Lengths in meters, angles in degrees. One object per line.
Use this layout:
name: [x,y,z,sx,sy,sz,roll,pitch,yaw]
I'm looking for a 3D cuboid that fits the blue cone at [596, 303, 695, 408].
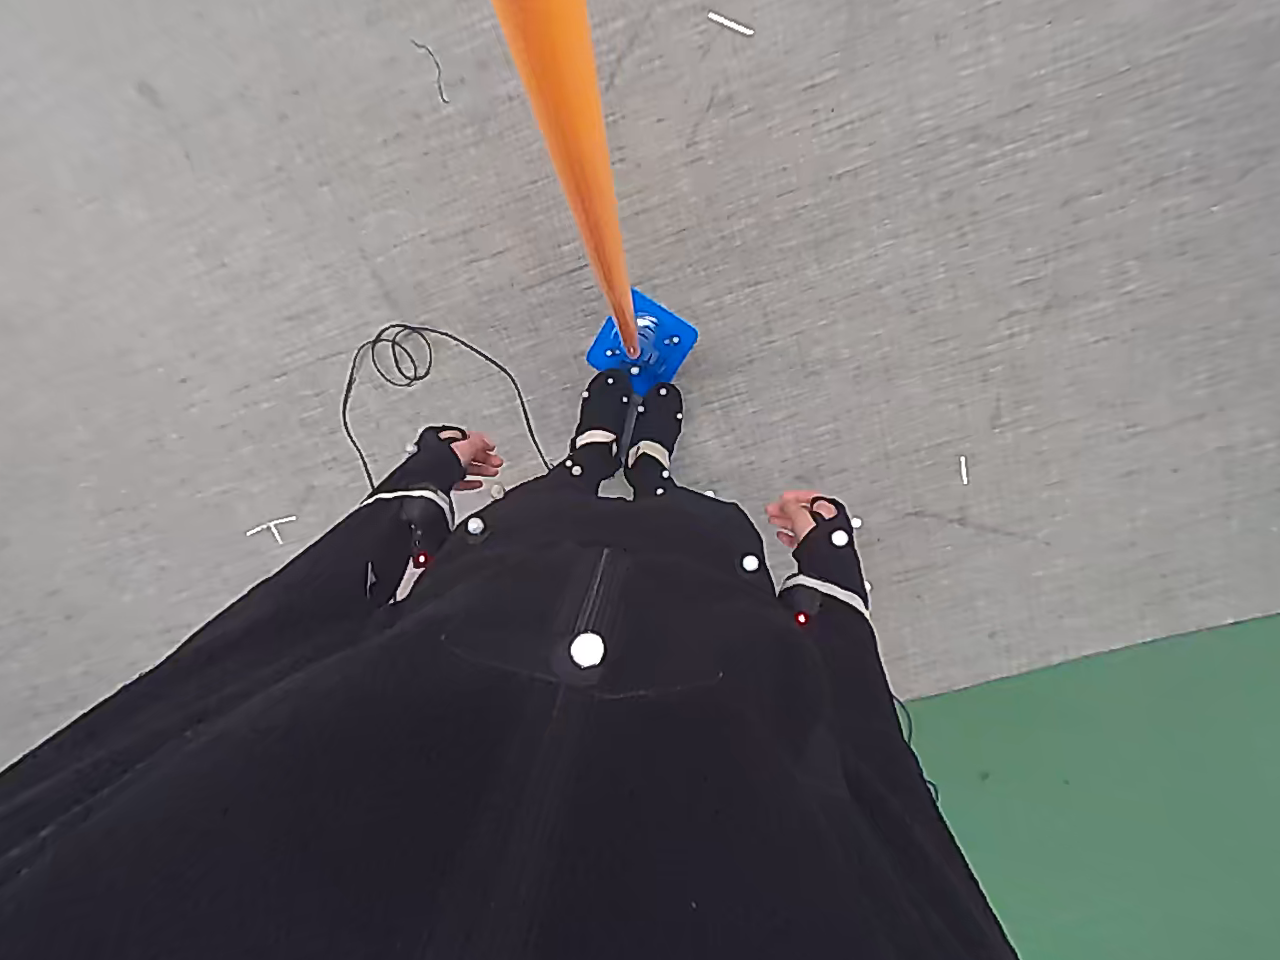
blue cone: [0.005,-0.241,1.064,0.192,0.380,0.193,30,103,-6]
